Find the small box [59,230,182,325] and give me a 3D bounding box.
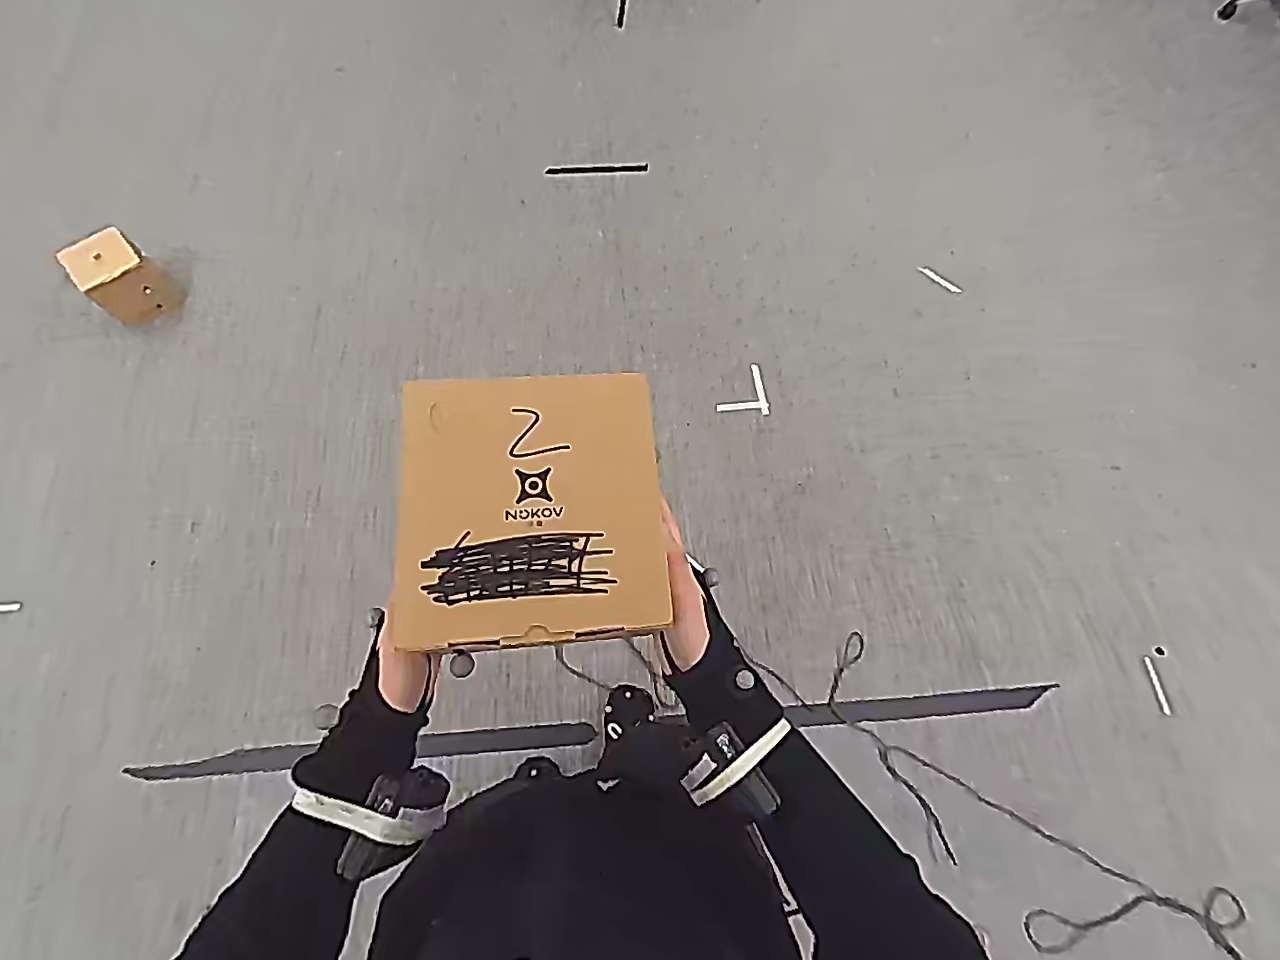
[{"bbox_3d":[-1.508,-0.582,1.583,0.168,0.176,0.179,-40,75,-17],"label":"small box"}]
